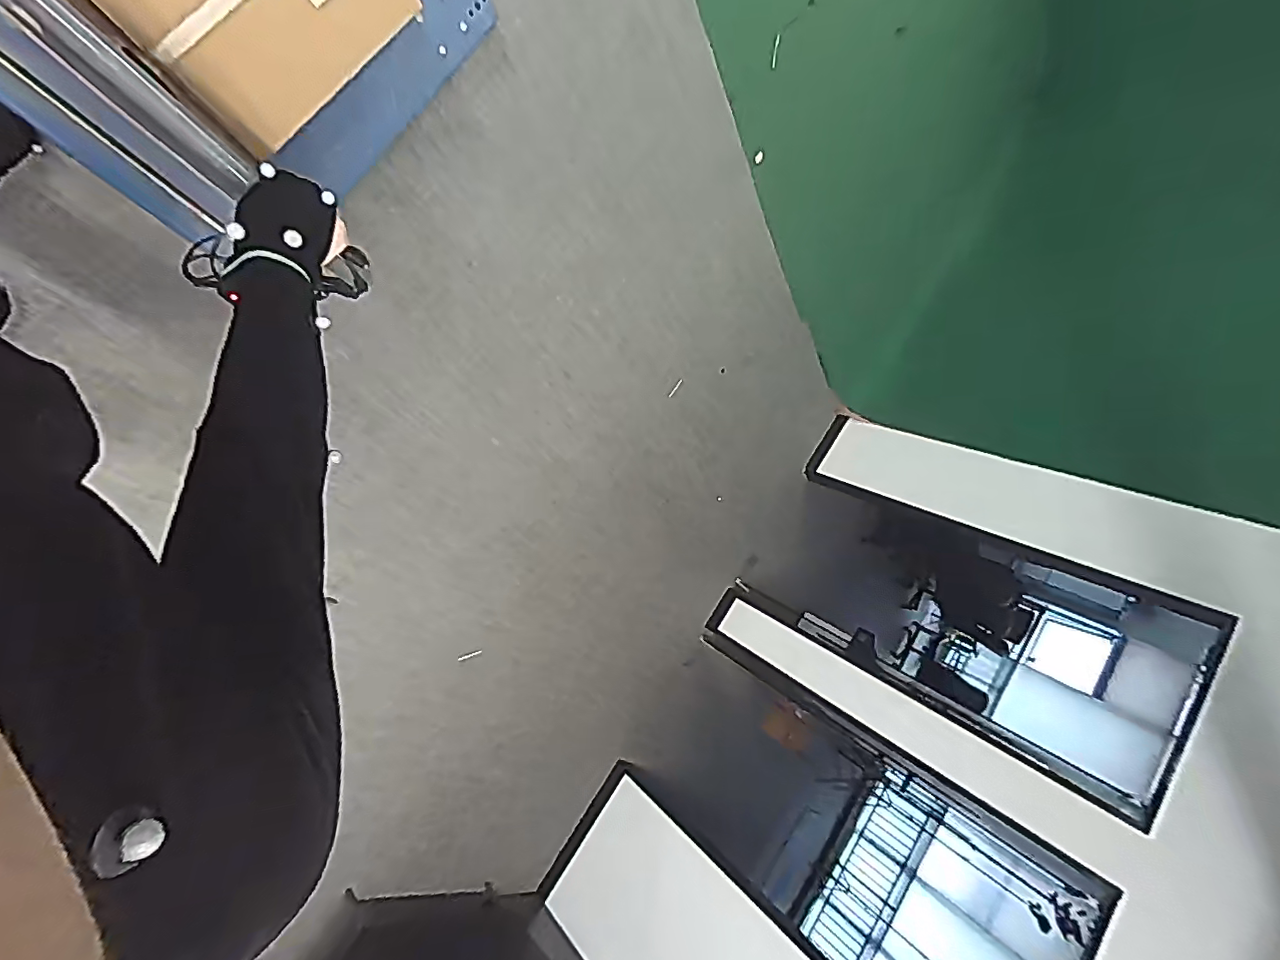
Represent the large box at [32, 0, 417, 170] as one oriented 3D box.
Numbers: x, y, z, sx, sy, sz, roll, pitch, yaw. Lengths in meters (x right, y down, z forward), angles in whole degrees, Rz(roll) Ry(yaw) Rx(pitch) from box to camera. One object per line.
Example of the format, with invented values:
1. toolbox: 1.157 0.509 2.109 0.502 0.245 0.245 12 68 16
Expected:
1. large box: -0.662 -0.786 0.878 0.408 0.320 0.320 -55 139 -12
